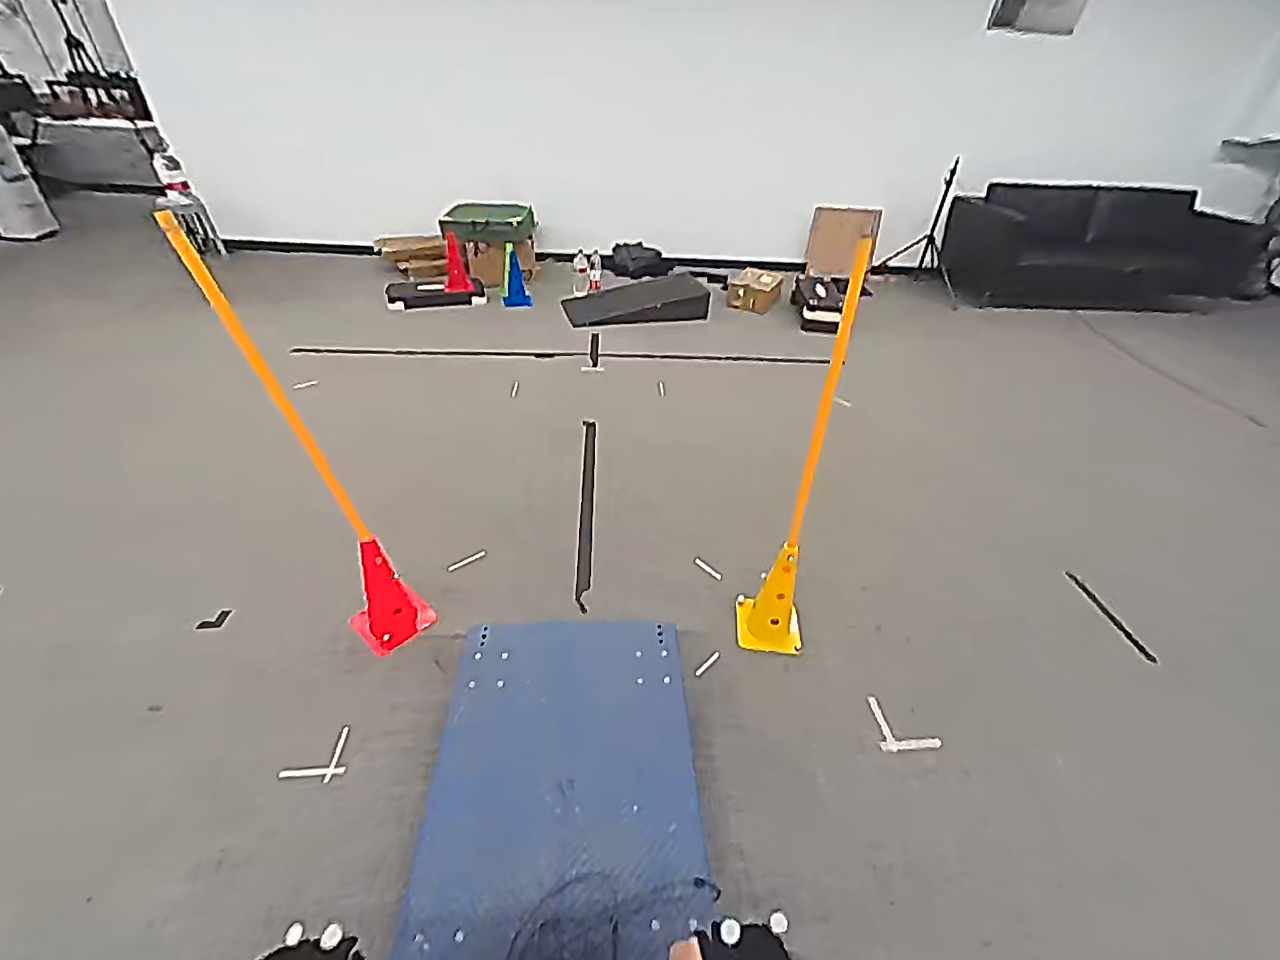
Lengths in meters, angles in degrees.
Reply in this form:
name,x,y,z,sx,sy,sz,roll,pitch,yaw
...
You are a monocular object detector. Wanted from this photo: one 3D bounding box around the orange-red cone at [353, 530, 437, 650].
name,x,y,z,sx,sy,sz,roll,pitch,yaw
orange-red cone,-0.752,0.290,1.589,0.198,0.360,0.199,32,44,30
